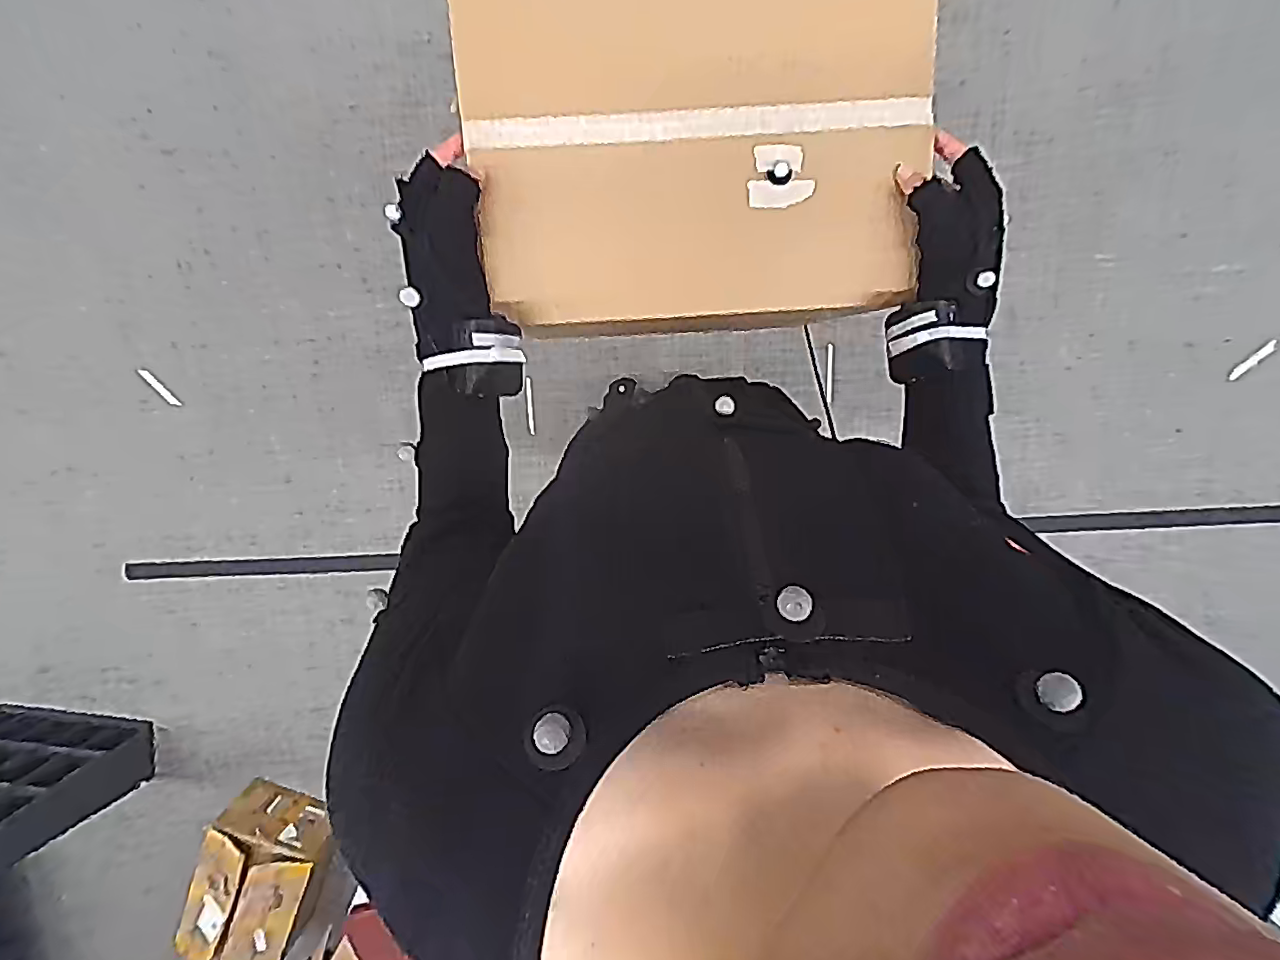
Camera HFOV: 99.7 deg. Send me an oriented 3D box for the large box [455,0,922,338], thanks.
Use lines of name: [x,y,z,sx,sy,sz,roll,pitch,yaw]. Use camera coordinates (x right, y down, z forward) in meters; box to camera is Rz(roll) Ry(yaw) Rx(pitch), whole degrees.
large box: [0.042,-0.343,0.623,0.408,0.320,0.320,-4,102,-2]
